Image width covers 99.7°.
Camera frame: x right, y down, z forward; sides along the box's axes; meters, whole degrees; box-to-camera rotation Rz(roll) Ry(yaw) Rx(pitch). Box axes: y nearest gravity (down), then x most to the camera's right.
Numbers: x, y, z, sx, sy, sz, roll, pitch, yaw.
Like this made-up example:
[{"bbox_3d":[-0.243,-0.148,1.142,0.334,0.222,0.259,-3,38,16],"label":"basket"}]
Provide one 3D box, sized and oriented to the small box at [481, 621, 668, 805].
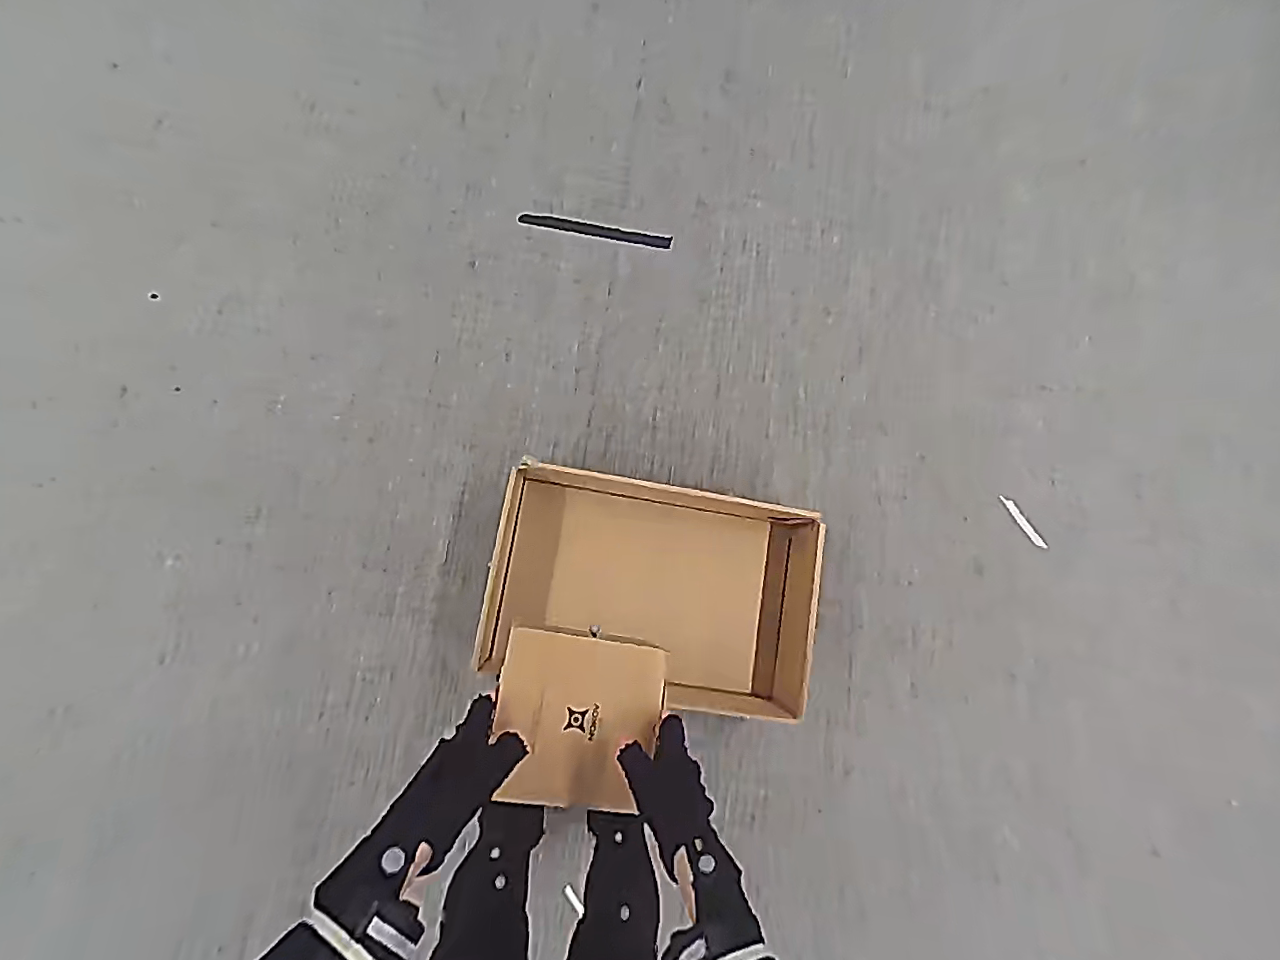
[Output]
[{"bbox_3d":[-0.081,0.263,0.644,0.179,0.176,0.168,11,75,-11],"label":"small box"}]
